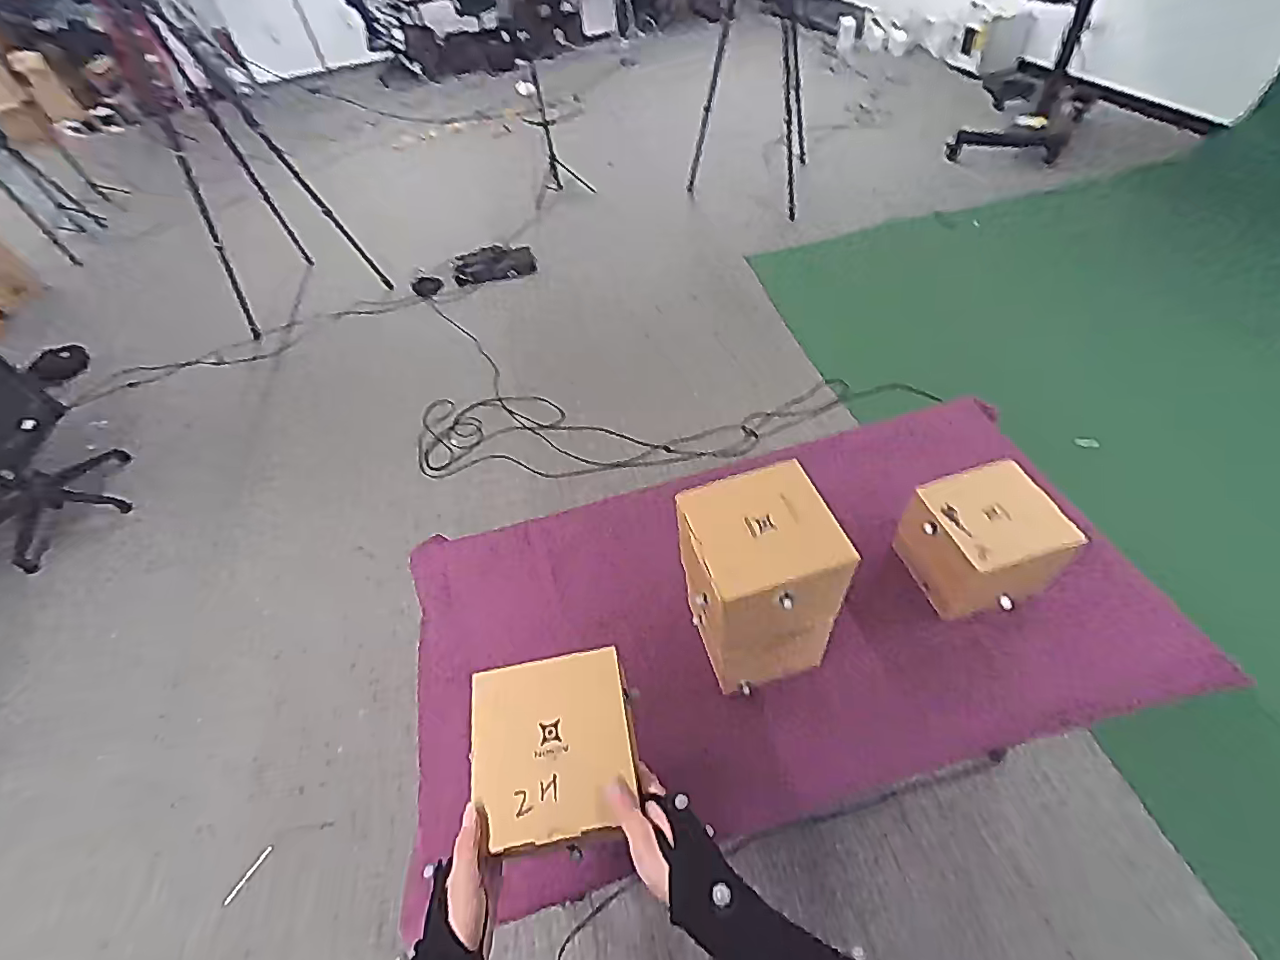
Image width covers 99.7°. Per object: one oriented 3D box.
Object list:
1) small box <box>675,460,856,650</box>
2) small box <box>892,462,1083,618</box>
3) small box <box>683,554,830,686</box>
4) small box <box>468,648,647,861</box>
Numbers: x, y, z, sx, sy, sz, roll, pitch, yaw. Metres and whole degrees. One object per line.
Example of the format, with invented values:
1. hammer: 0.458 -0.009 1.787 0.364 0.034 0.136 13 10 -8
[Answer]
1. small box: 0.158 0.105 0.729 0.179 0.176 0.168 -16 51 -6
2. small box: 0.550 0.102 0.888 0.179 0.176 0.168 -15 50 -5
3. small box: 0.175 0.206 0.856 0.168 0.176 0.179 -16 50 -5
4. small box: -0.088 0.317 0.619 0.168 0.176 0.179 -10 54 -3
